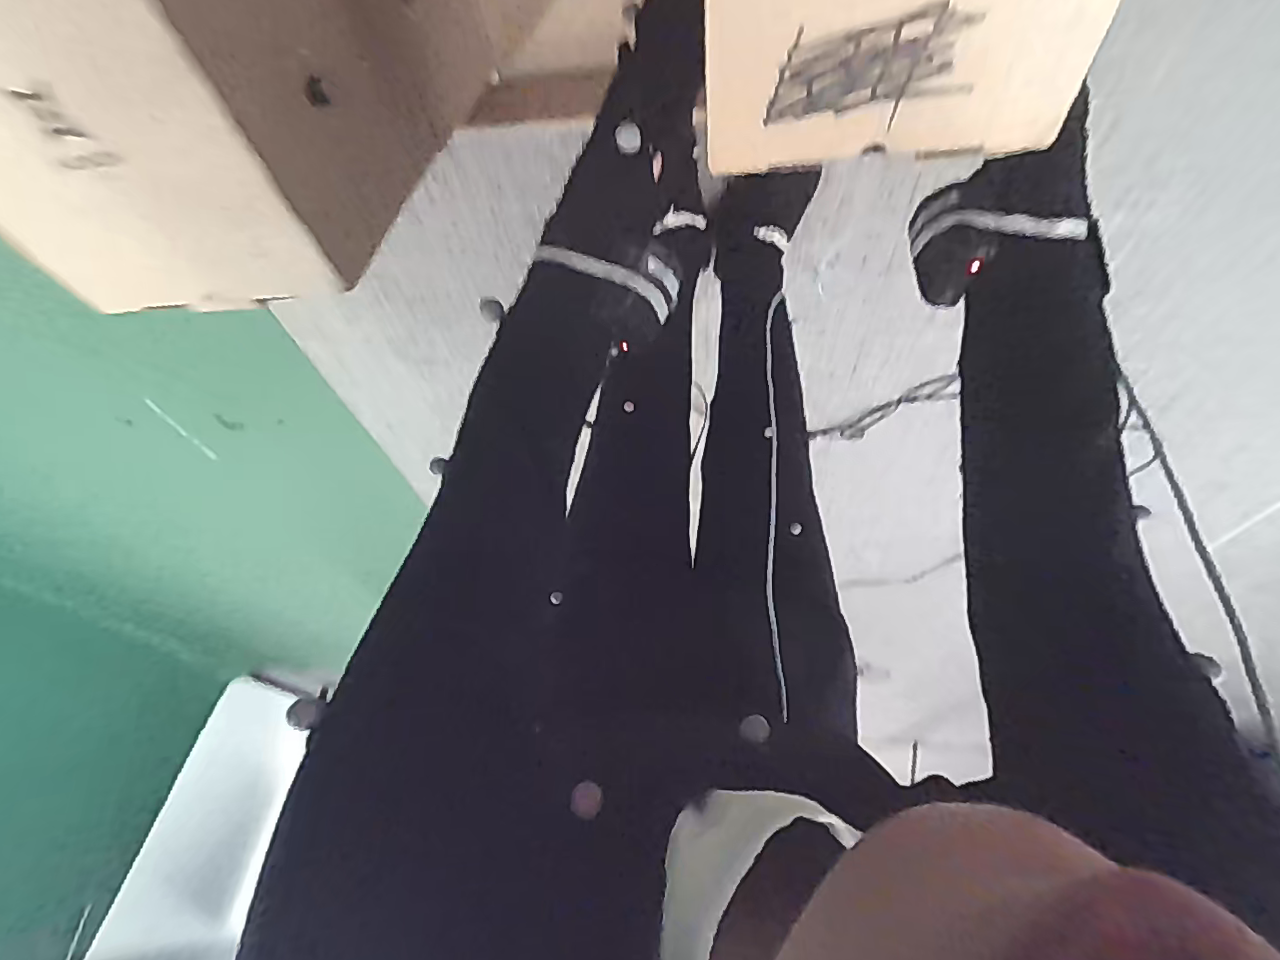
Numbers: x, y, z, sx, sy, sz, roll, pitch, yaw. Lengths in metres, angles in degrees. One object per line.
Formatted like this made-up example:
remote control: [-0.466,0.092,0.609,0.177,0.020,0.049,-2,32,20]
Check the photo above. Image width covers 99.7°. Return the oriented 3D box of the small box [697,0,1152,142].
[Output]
small box: [0.107,-0.266,0.205,0.168,0.176,0.179,0,153,5]
